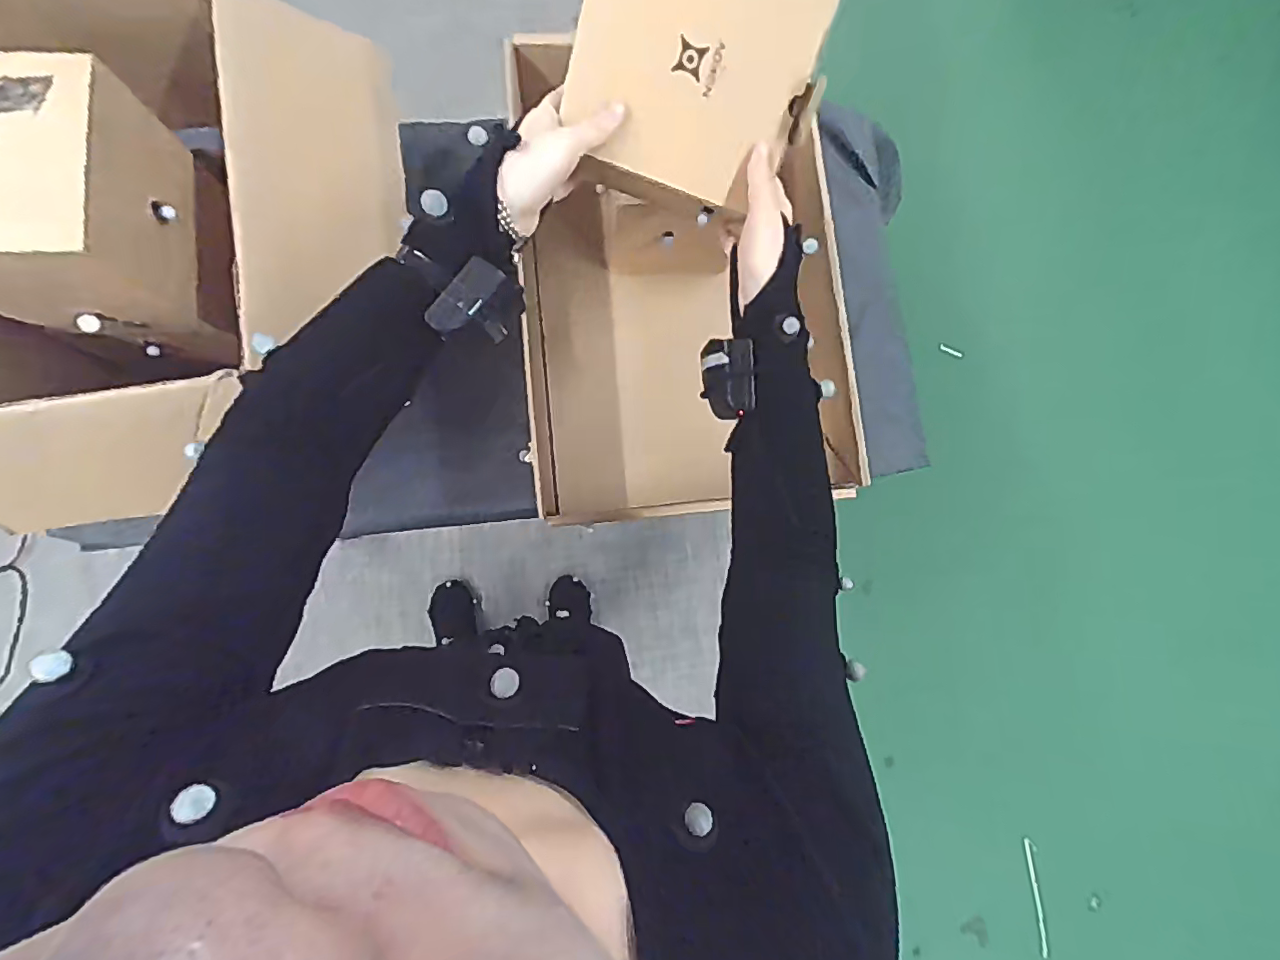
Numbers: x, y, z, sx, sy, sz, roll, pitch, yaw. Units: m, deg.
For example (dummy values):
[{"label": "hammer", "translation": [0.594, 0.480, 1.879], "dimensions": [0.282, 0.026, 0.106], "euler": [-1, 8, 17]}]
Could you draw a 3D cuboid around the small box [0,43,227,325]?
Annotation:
[{"label": "small box", "translation": [-0.528, -0.262, 0.510], "dimensions": [0.168, 0.176, 0.179], "euler": [-3, 86, -8]}]

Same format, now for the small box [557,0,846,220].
[{"label": "small box", "translation": [0.034, -0.337, 0.468], "dimensions": [0.179, 0.176, 0.168], "euler": [14, 113, -14]}]
